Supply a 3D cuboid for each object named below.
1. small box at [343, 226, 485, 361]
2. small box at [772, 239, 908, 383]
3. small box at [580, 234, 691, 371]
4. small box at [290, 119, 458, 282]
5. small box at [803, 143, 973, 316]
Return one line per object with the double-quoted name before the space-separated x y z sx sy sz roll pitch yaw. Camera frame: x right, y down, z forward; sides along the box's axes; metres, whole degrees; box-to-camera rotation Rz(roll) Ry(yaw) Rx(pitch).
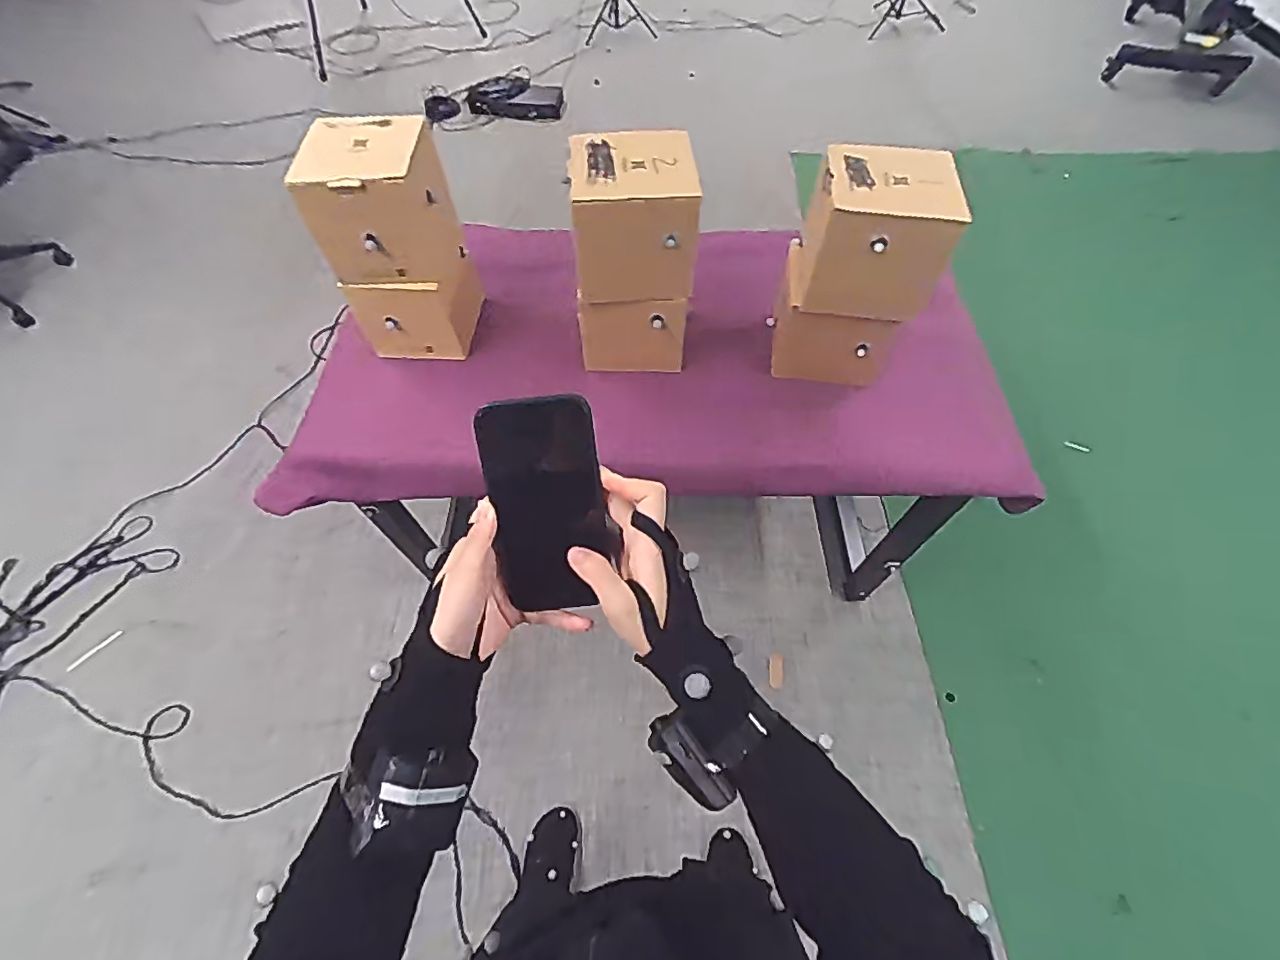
"small box" -0.393 -0.333 0.978 0.168 0.176 0.179 2 58 2
"small box" 0.336 -0.287 0.936 0.179 0.176 0.168 7 58 5
"small box" -0.003 -0.307 0.953 0.179 0.176 0.168 1 58 2
"small box" -0.396 -0.426 0.842 0.168 0.176 0.179 -2 59 -1
"small box" 0.341 -0.360 0.788 0.179 0.176 0.168 7 58 4
